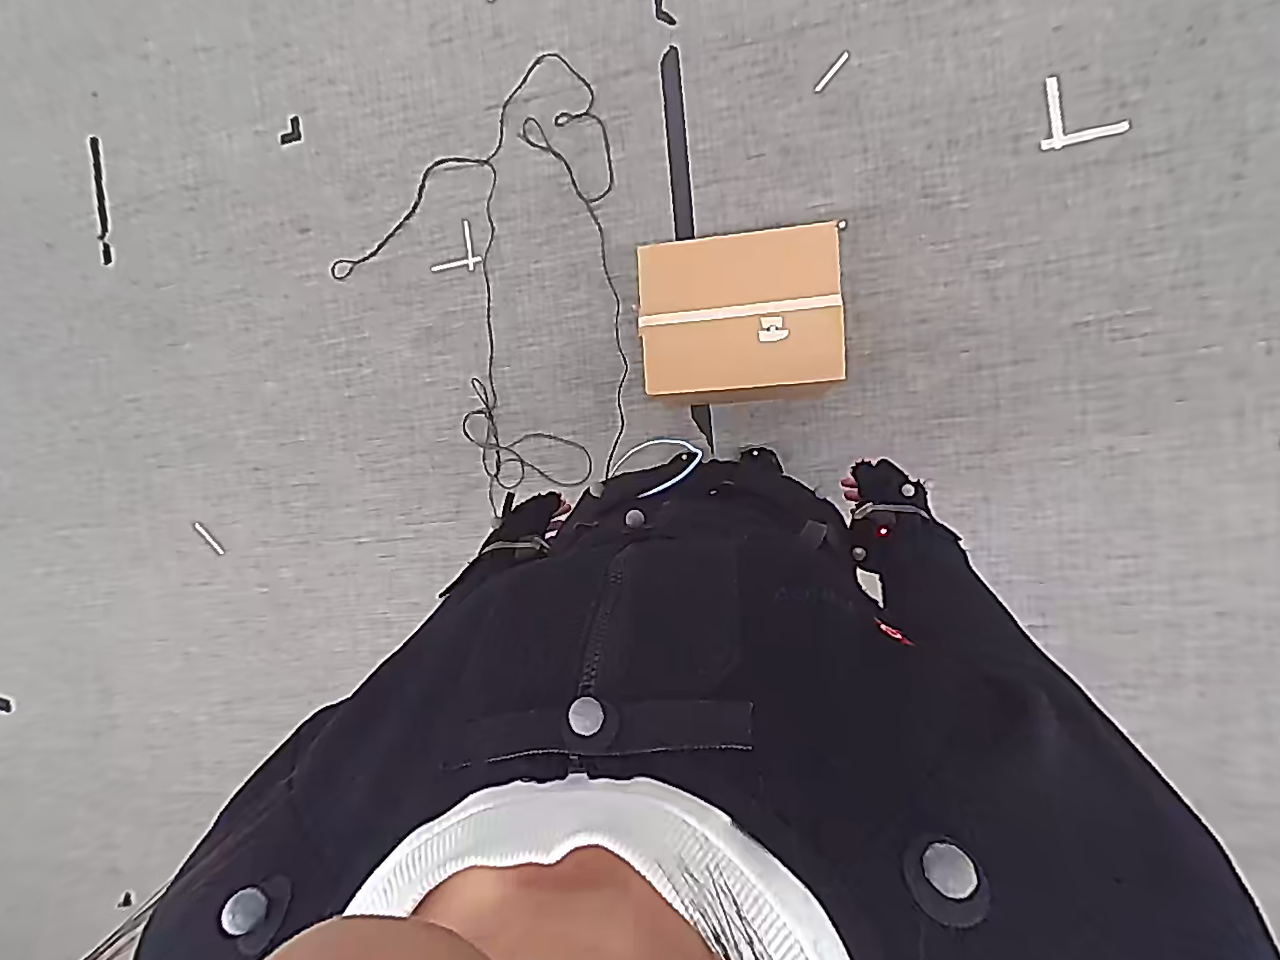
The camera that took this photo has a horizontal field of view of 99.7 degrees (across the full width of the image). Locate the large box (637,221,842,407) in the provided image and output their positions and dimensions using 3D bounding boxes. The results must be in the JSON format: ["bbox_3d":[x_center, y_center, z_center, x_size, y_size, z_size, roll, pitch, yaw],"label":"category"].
[{"bbox_3d":[0.223,-0.353,1.255,0.408,0.320,0.320,-3,93,10],"label":"large box"}]
